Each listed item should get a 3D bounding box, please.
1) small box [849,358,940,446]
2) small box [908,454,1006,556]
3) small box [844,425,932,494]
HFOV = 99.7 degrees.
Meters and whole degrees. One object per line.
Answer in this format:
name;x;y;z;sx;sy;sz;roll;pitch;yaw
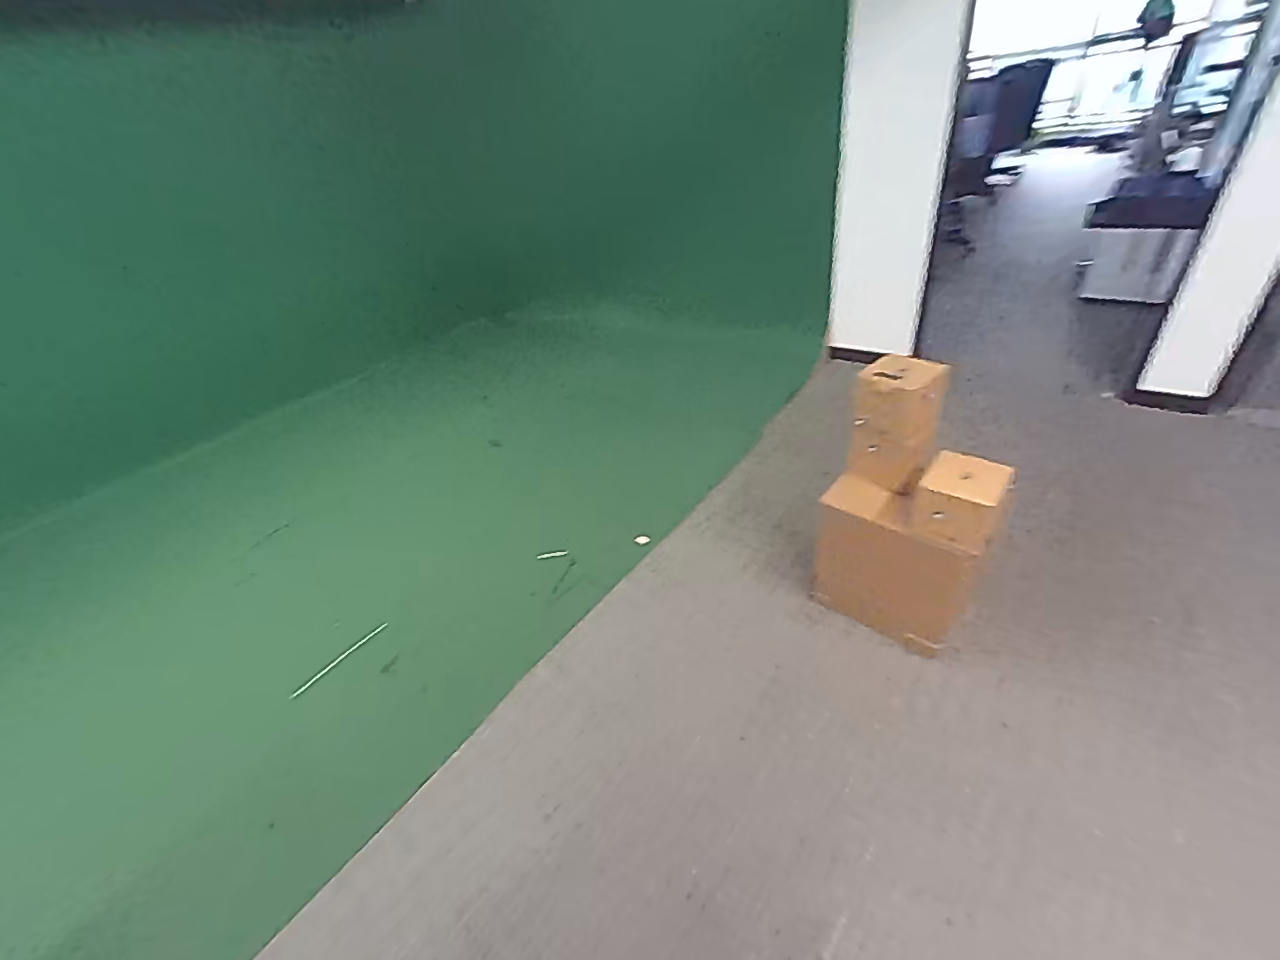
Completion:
small box;0.705;-0.217;1.512;0.179;0.176;0.168;-30;41;-28
small box;0.806;0.064;1.386;0.168;0.176;0.179;22;47;36
small box;0.728;-0.083;1.606;0.168;0.176;0.179;-33;43;-28
